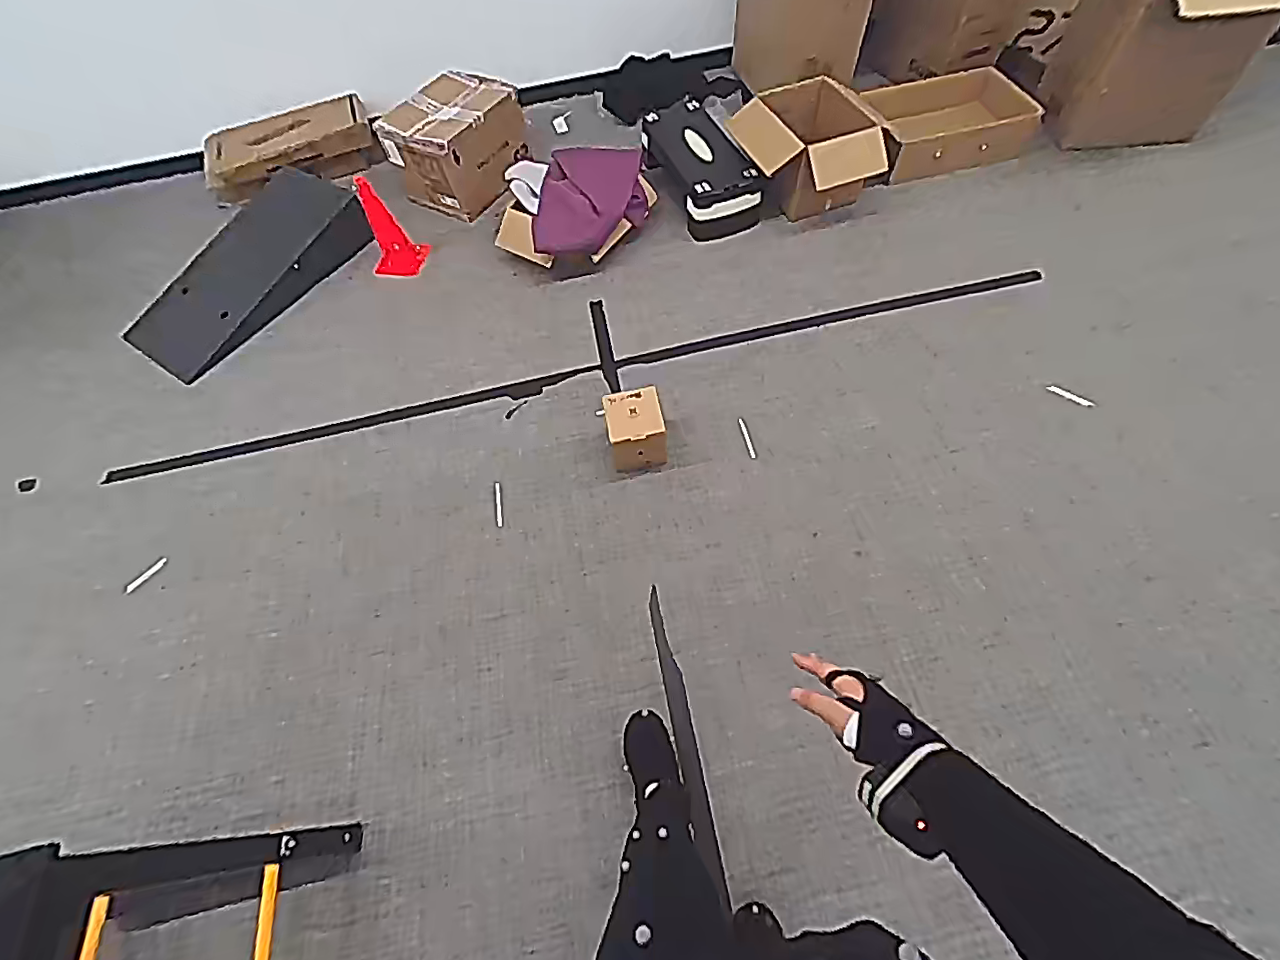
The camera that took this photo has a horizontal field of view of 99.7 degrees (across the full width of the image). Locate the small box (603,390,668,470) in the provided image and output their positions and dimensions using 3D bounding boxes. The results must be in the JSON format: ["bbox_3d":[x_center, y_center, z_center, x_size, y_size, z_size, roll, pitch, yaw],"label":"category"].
[{"bbox_3d":[-0.011,-0.146,1.657,0.168,0.176,0.179,-11,61,-1],"label":"small box"}]
